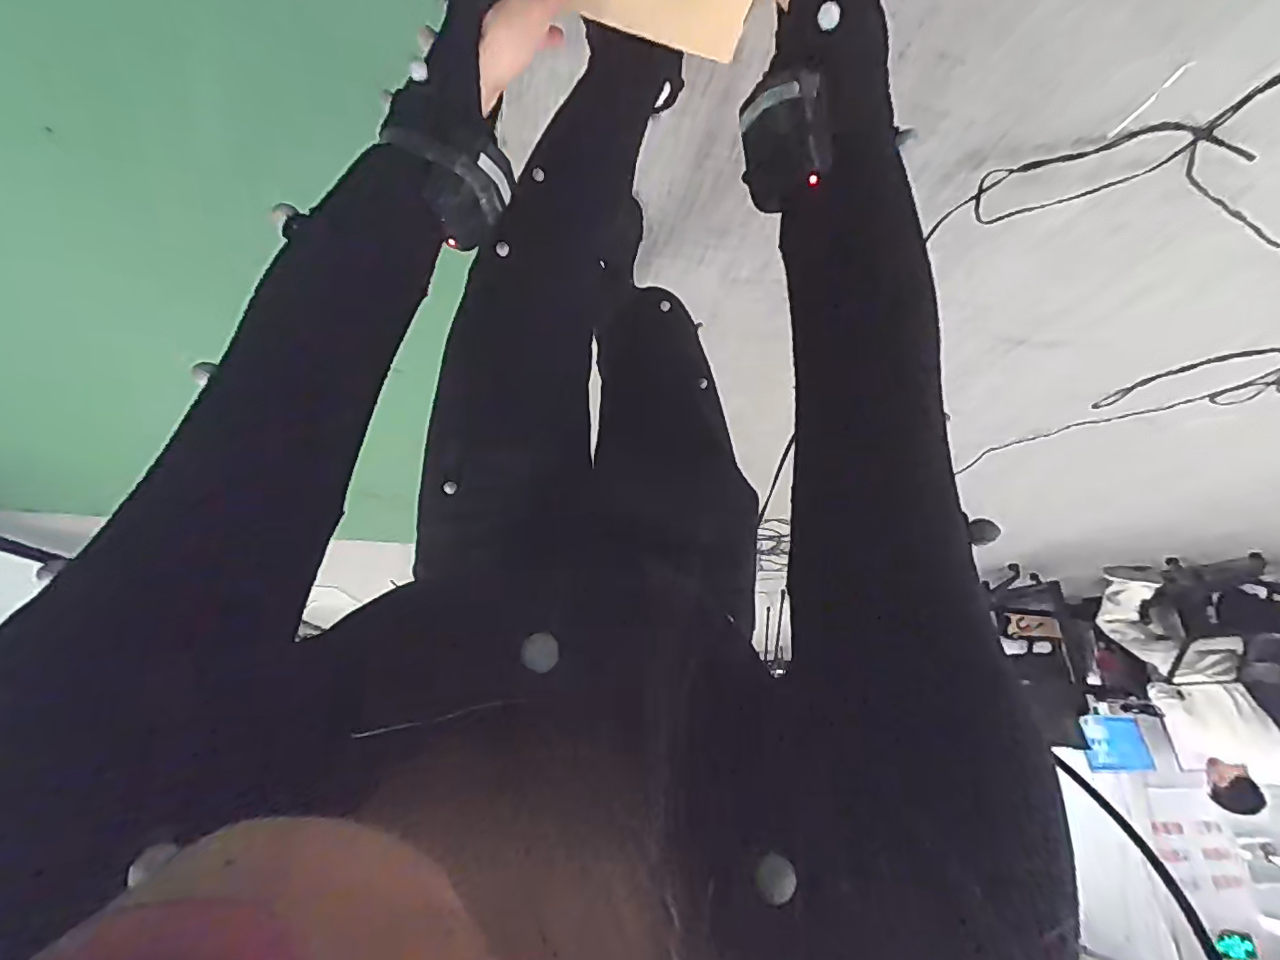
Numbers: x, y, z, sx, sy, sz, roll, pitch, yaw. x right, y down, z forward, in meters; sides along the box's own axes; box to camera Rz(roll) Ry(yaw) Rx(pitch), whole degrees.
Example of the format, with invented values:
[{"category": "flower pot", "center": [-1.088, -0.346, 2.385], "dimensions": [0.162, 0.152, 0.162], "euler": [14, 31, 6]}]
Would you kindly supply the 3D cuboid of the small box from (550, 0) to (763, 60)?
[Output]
[{"category": "small box", "center": [0.023, -0.475, 0.404], "dimensions": [0.179, 0.176, 0.168], "euler": [6, 158, -15]}]
